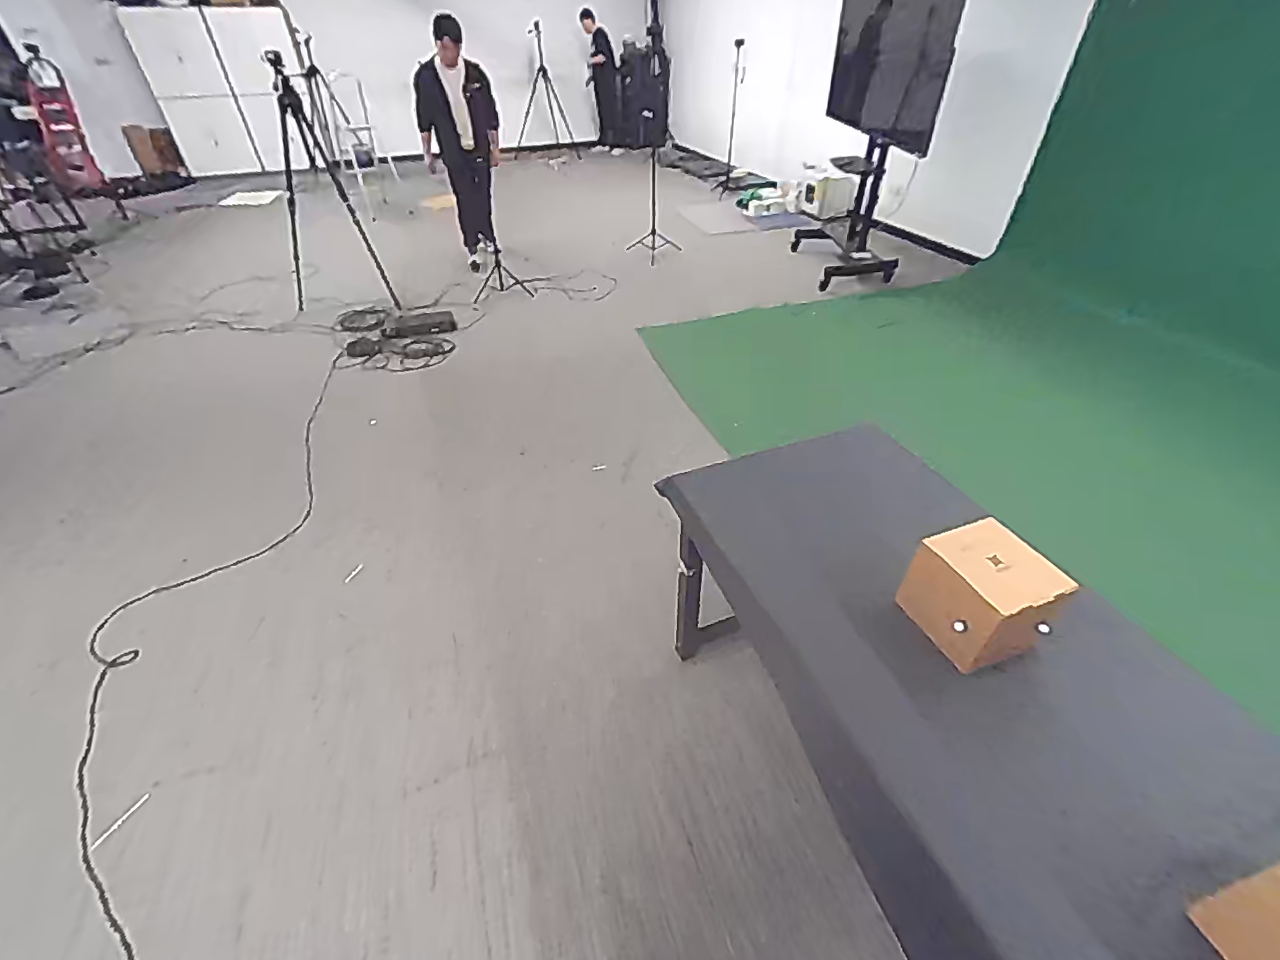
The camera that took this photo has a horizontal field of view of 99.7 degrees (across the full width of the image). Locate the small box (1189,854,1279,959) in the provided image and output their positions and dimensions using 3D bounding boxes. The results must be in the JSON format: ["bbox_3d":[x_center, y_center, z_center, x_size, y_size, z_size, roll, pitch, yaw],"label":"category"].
[{"bbox_3d":[0.782,0.508,0.581,0.168,0.176,0.179,-12,42,-13],"label":"small box"}]

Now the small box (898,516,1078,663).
[{"bbox_3d":[0.597,0.197,0.953,0.168,0.176,0.179,-14,41,-17],"label":"small box"}]
